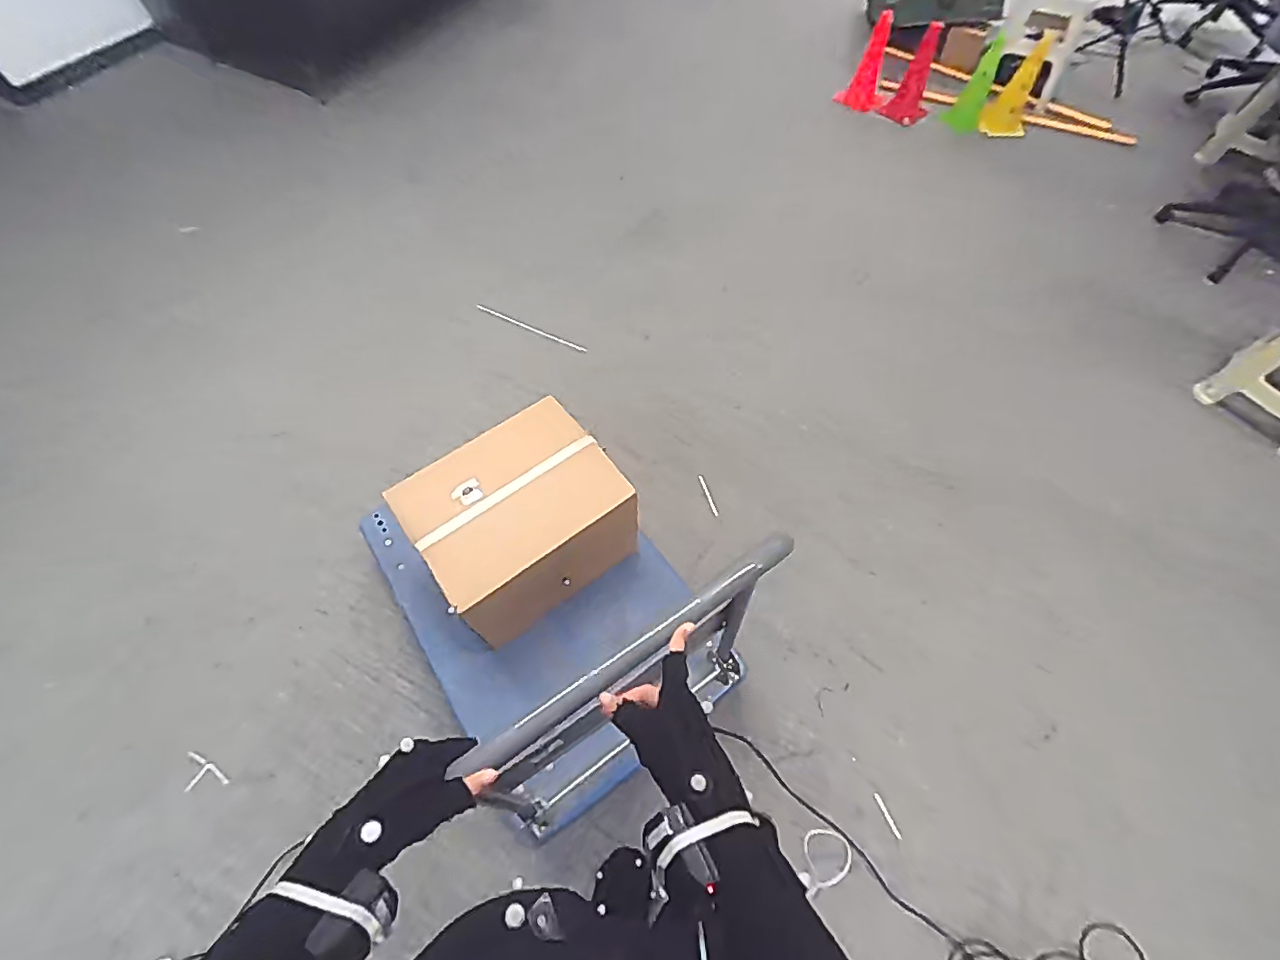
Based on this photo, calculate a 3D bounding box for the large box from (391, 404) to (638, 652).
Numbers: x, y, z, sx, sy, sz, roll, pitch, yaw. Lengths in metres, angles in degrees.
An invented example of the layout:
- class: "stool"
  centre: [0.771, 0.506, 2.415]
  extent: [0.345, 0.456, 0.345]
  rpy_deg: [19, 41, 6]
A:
- class: "large box"
  centre: [-0.250, 0.113, 1.210]
  extent: [0.408, 0.320, 0.320]
  rpy_deg: [-35, 66, -18]
